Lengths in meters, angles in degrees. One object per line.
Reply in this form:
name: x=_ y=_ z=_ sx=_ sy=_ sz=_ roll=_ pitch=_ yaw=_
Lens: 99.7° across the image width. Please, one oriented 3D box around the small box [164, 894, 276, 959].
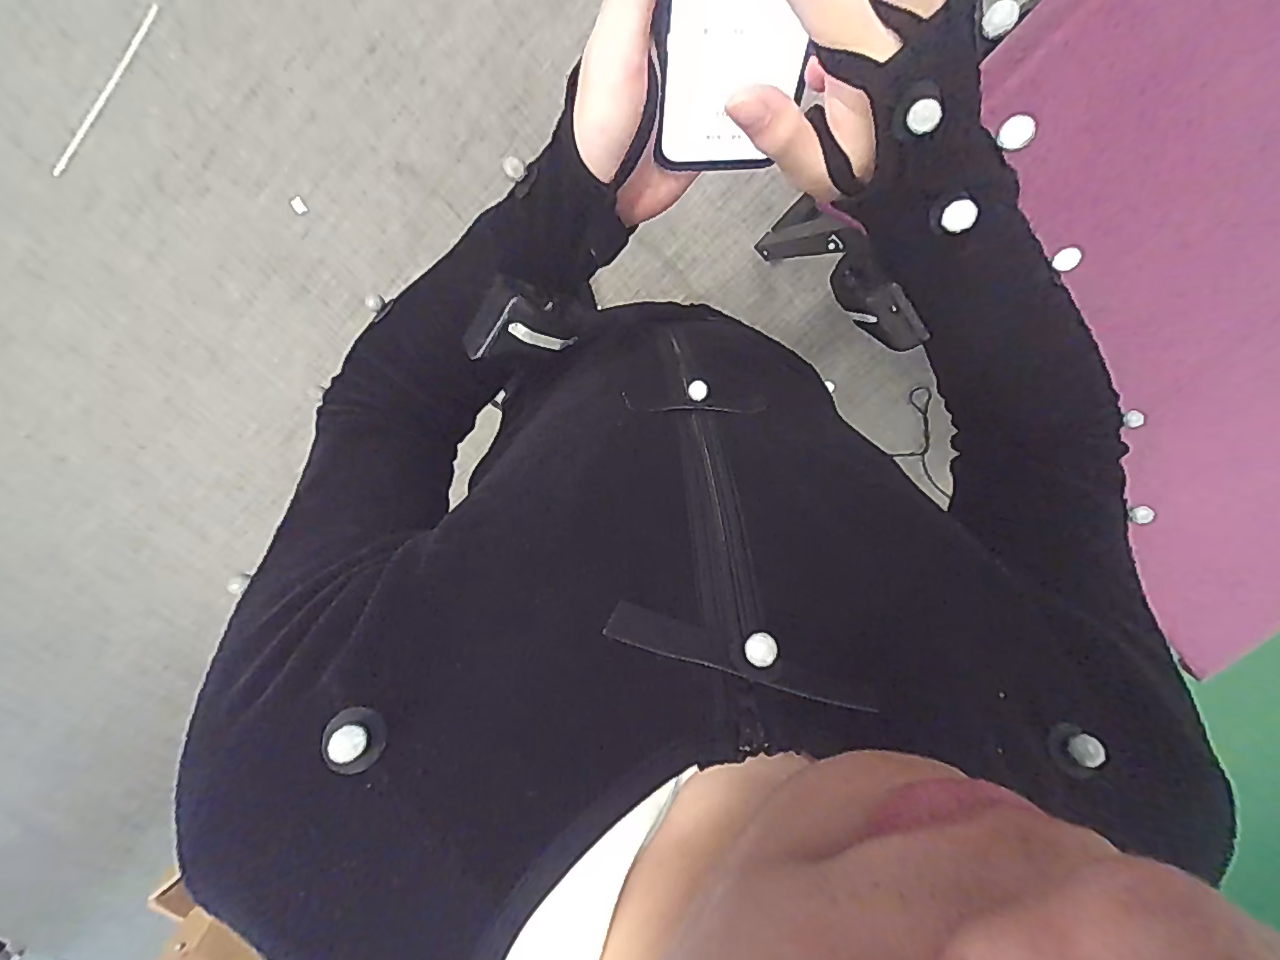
small box: x=-1.024 y=1.150 z=1.299 sx=0.179 sy=0.176 sz=0.168 roll=-37 pitch=107 yaw=9
